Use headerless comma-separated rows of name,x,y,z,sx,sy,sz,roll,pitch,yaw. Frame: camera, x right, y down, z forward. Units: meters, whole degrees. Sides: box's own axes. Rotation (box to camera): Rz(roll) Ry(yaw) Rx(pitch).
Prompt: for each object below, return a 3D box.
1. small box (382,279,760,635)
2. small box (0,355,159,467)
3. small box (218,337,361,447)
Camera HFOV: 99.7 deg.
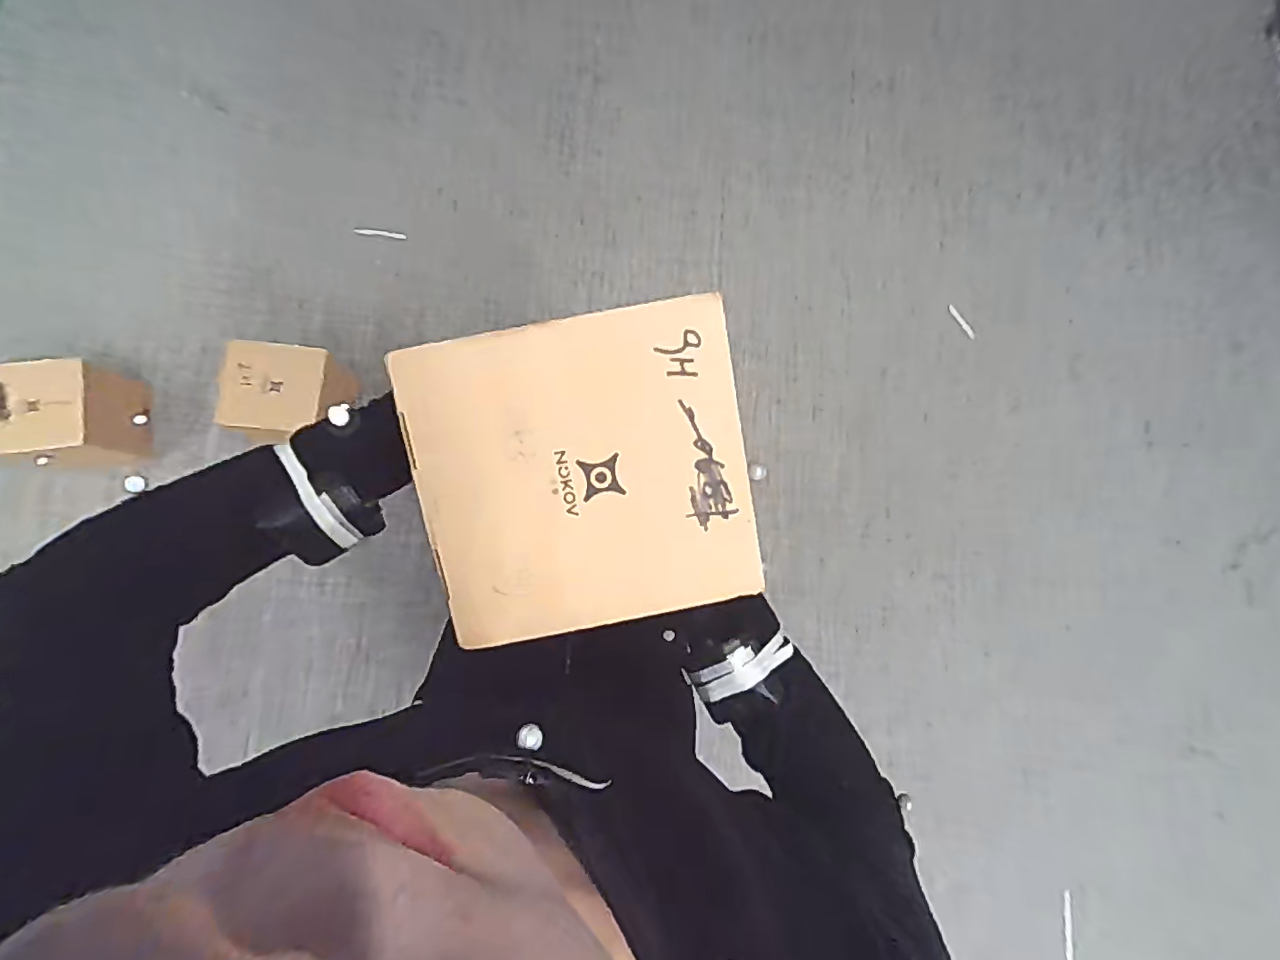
small box,-0.034,-0.020,0.362,0.179,0.176,0.168,-11,100,0
small box,-1.079,-0.125,1.033,0.179,0.176,0.168,-7,83,-8
small box,-0.686,-0.166,1.083,0.179,0.176,0.168,6,80,-6
